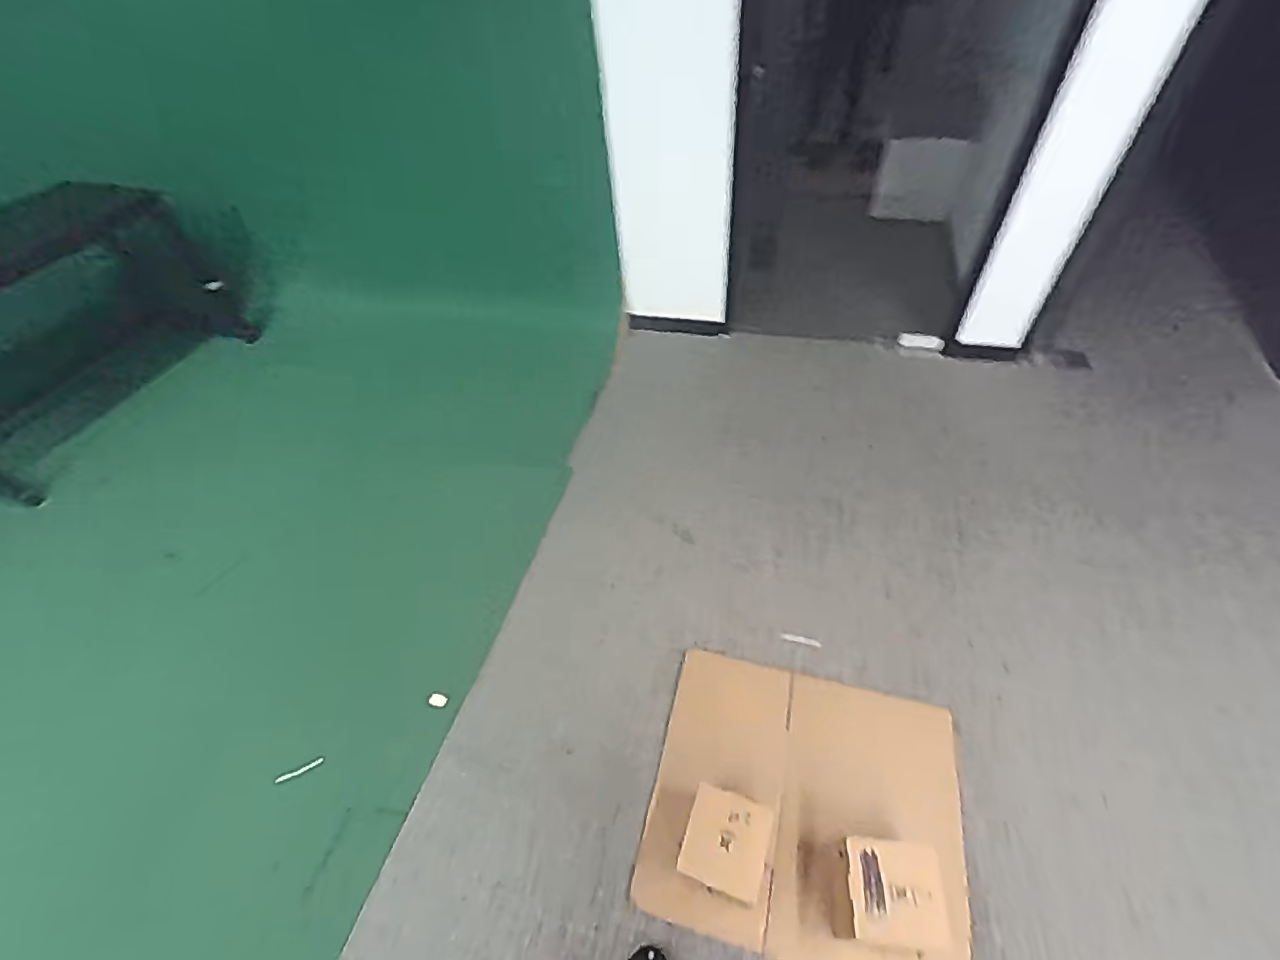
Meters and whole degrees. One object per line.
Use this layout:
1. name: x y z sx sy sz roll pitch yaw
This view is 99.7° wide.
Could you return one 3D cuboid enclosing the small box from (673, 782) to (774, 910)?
1. small box: 0.179 0.789 1.162 0.168 0.176 0.179 15 52 17
